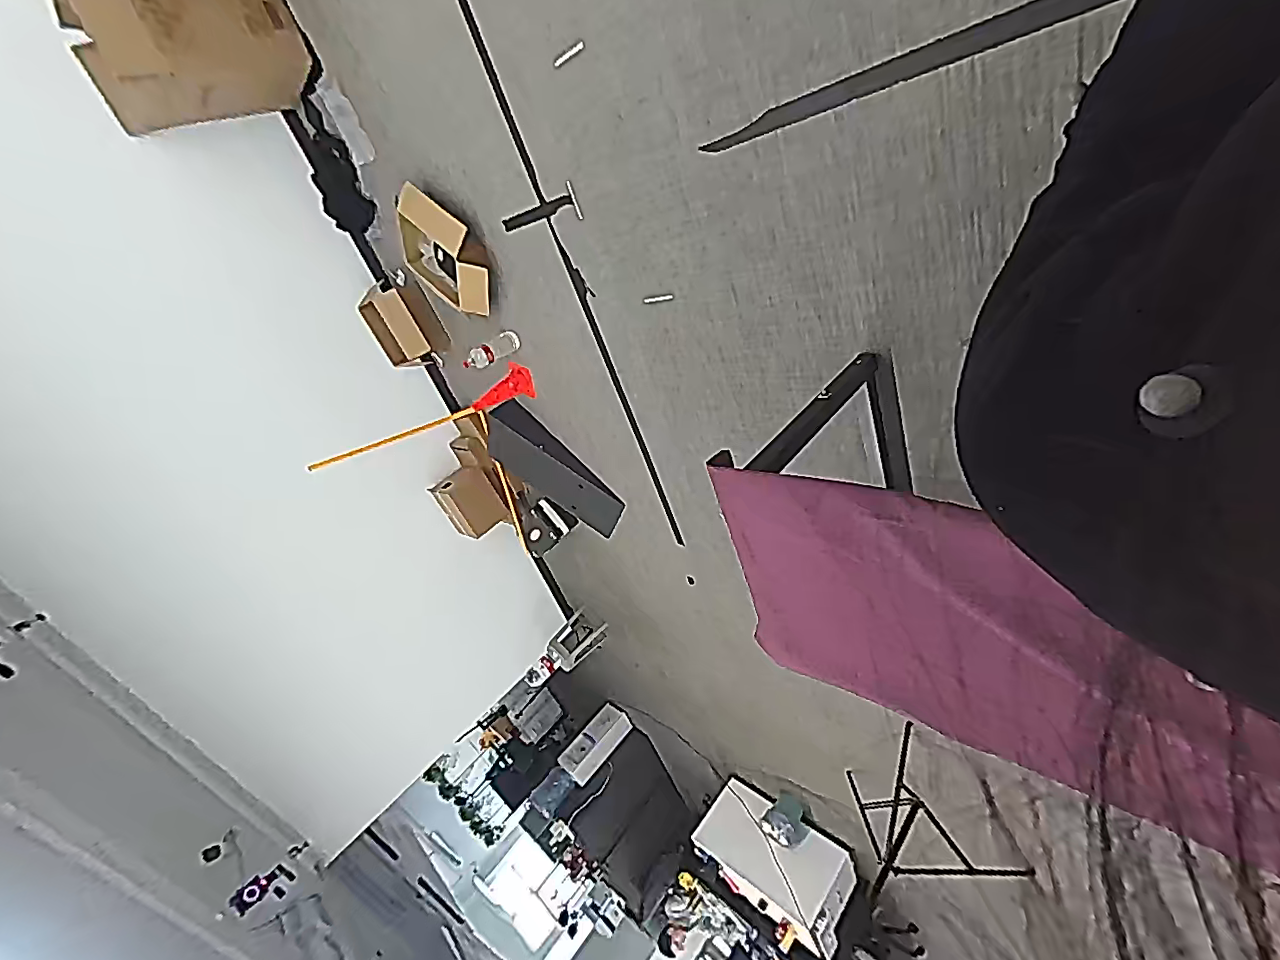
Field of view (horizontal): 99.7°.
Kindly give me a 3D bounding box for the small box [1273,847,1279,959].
[{"bbox_3d":[0.719,0.397,0.490,0.179,0.176,0.168,5,130,48],"label":"small box"}]
